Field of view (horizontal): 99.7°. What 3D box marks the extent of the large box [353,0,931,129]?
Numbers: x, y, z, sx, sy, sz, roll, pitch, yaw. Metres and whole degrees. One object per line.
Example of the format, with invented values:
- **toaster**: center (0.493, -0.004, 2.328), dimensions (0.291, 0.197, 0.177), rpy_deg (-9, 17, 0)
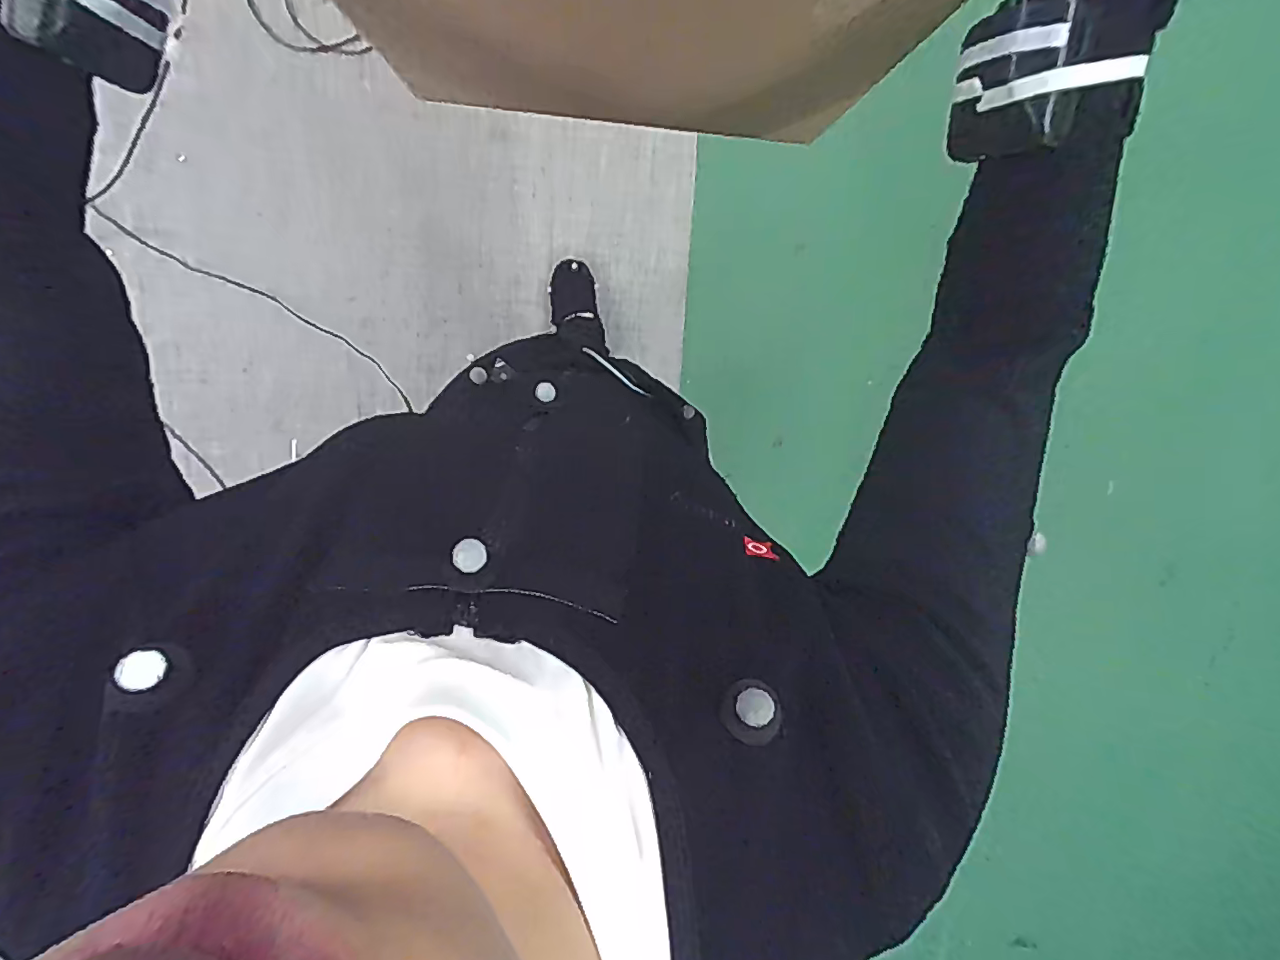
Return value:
- **large box**: center (-0.003, -0.479, 0.365), dimensions (0.408, 0.320, 0.320), rpy_deg (3, 106, -5)
